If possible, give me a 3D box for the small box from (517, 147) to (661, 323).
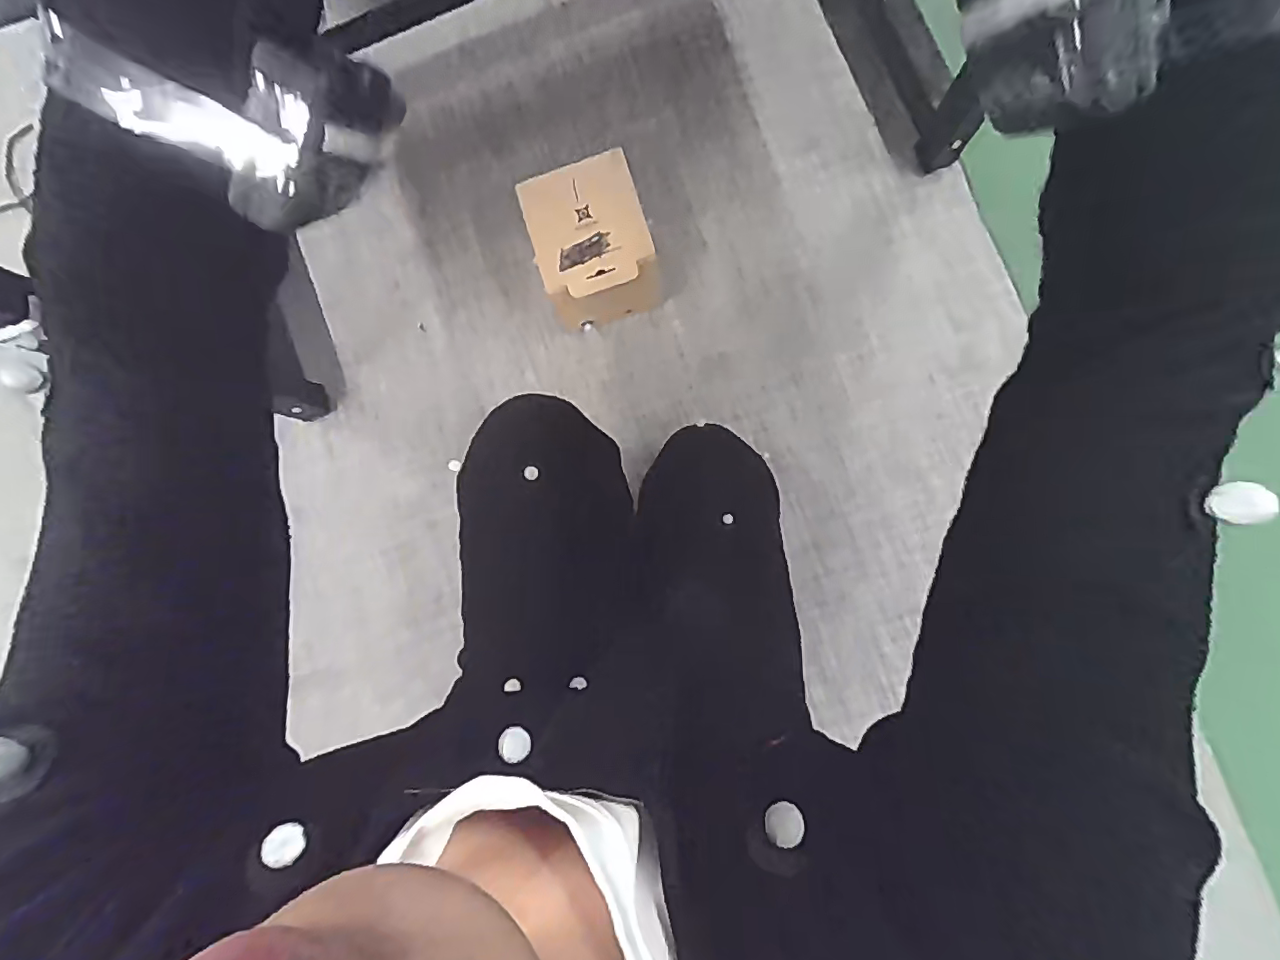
[{"bbox_3d":[-0.070,-0.366,0.848,0.168,0.176,0.179,-17,83,4],"label":"small box"}]
